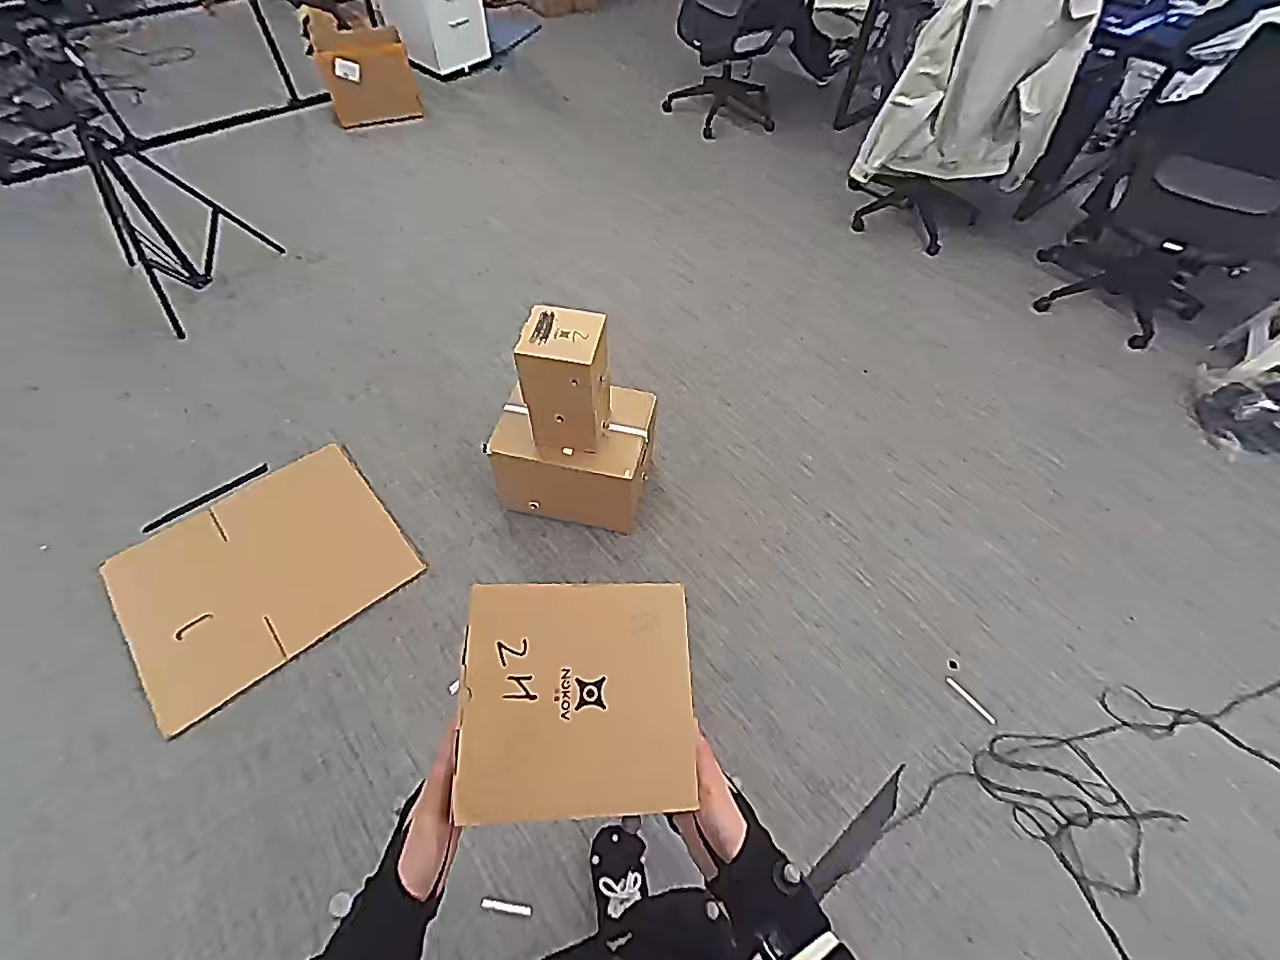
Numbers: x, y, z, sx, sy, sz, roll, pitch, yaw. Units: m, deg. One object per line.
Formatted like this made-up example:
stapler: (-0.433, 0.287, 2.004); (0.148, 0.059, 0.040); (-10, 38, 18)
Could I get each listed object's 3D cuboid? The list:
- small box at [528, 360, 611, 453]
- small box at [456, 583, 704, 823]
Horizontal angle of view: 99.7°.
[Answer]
small box: (-0.177, -0.188, 1.418); (0.179, 0.176, 0.168); (9, 58, 3)
small box: (-0.053, 0.190, 0.479); (0.179, 0.176, 0.168); (1, 66, -9)
